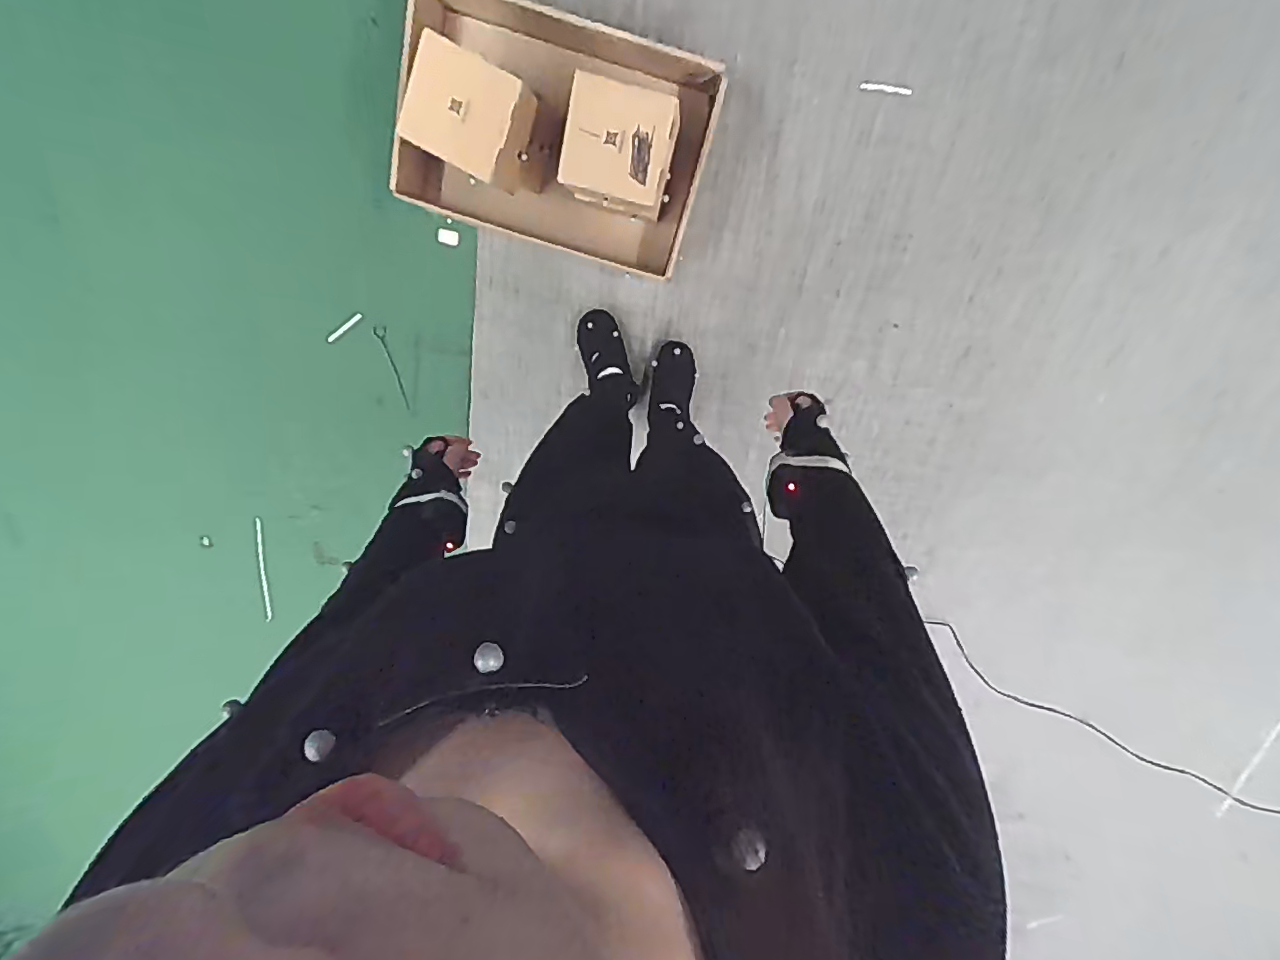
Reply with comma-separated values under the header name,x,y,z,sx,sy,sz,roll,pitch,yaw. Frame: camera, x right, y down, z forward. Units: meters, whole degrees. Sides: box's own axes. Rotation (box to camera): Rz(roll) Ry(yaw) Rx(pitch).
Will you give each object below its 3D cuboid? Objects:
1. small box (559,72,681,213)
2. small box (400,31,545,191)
name,x,y,z,sx,sy,sz,roll,pitch,yaw
small box,-0.029,-0.593,0.976,0.179,0.176,0.168,16,112,0
small box,-0.294,-0.648,0.978,0.179,0.176,0.168,25,110,-8
